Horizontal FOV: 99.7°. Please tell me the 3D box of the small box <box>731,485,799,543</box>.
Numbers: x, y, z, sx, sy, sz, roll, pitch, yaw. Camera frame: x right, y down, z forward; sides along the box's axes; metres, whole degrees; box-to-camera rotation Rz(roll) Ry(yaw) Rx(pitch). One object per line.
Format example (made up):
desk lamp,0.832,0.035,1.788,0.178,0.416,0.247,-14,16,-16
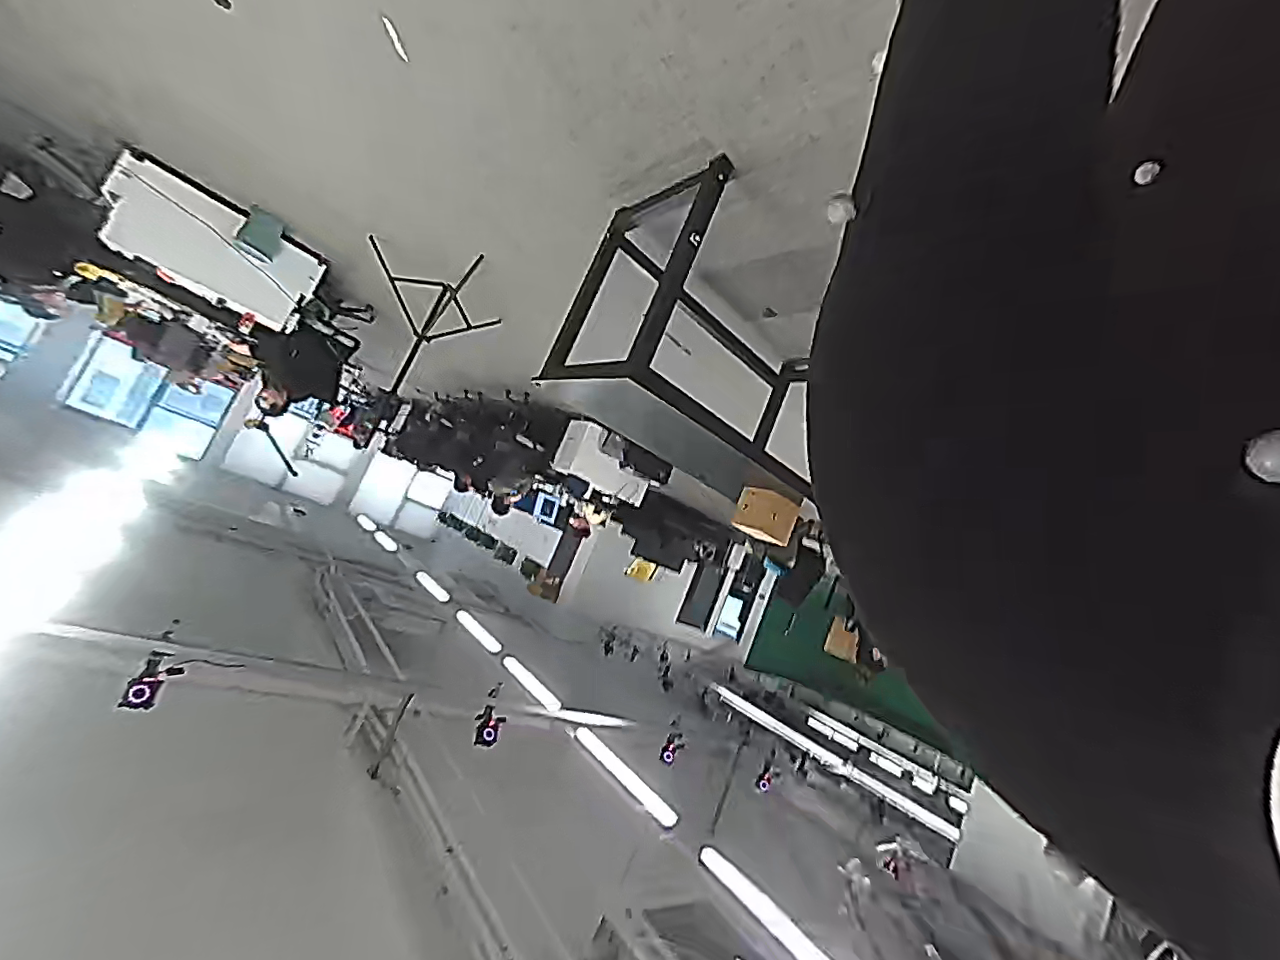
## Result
small box,0.500,0.130,2.149,0.179,0.176,0.168,27,172,-34
